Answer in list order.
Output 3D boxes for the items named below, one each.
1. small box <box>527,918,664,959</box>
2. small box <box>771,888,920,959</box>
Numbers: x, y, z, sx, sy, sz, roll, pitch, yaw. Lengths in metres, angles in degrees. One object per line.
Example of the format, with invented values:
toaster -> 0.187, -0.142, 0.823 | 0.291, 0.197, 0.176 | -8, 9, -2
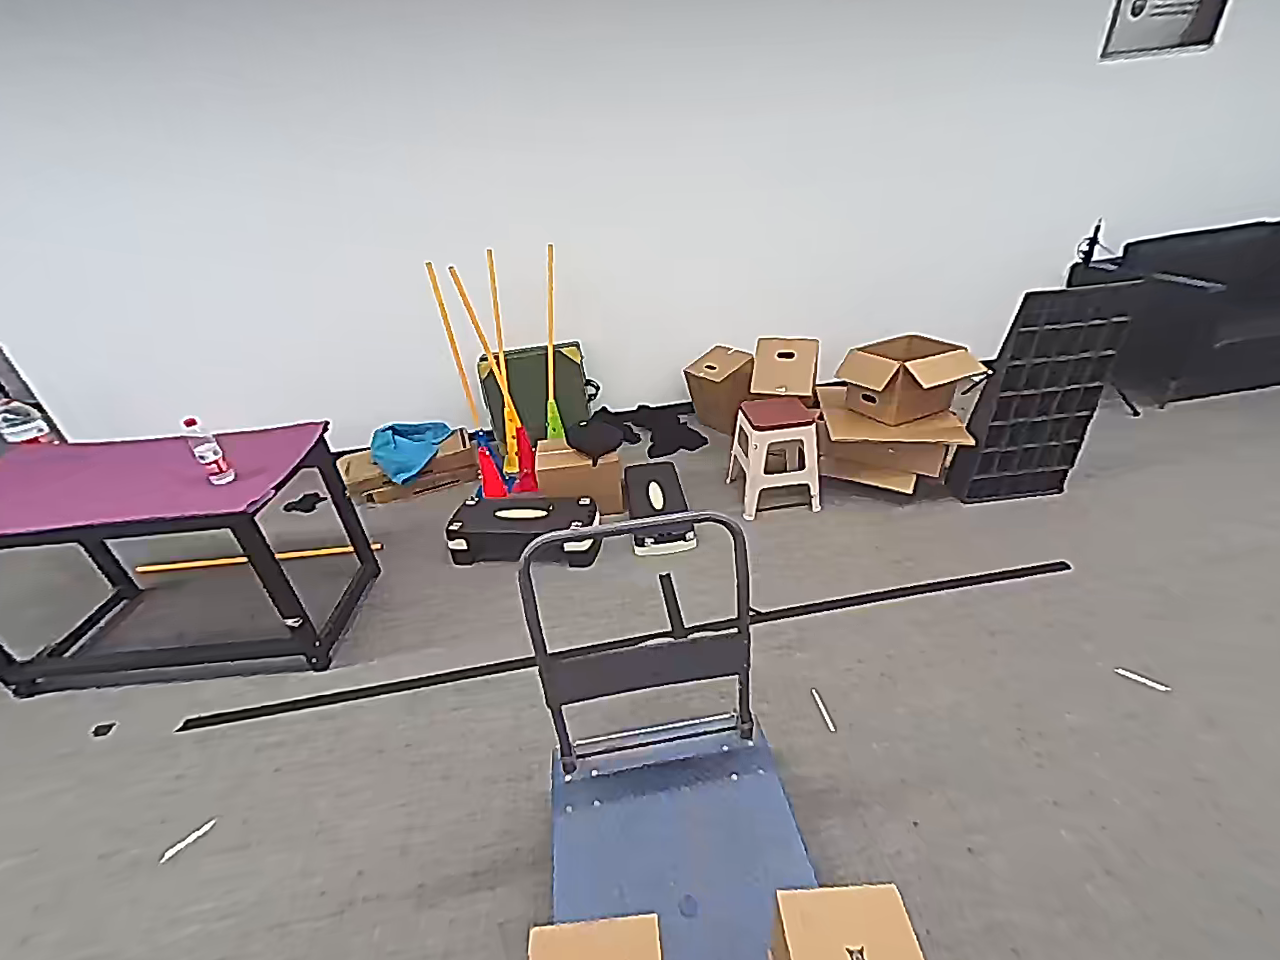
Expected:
small box -> -0.051, 0.707, 0.699 | 0.179, 0.176, 0.168 | -5, 32, -1
small box -> 0.272, 0.675, 0.706 | 0.168, 0.176, 0.179 | -4, 30, 1
